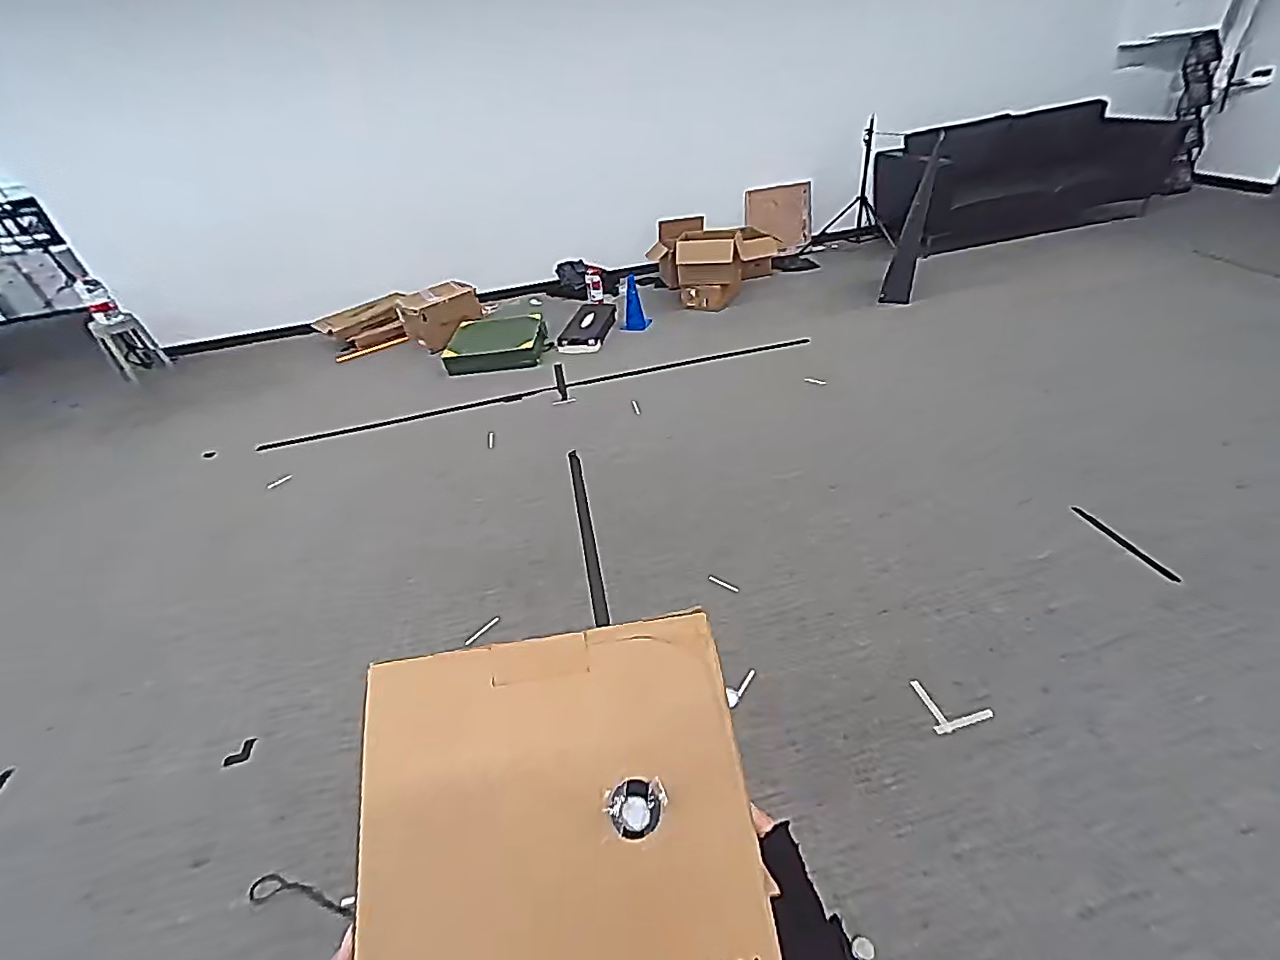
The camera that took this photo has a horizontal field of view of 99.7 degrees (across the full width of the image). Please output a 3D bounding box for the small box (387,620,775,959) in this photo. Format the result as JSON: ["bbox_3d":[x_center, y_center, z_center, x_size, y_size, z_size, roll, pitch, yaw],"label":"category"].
[{"bbox_3d":[-0.027,0.191,0.317,0.168,0.179,0.176,-9,67,0],"label":"small box"}]
